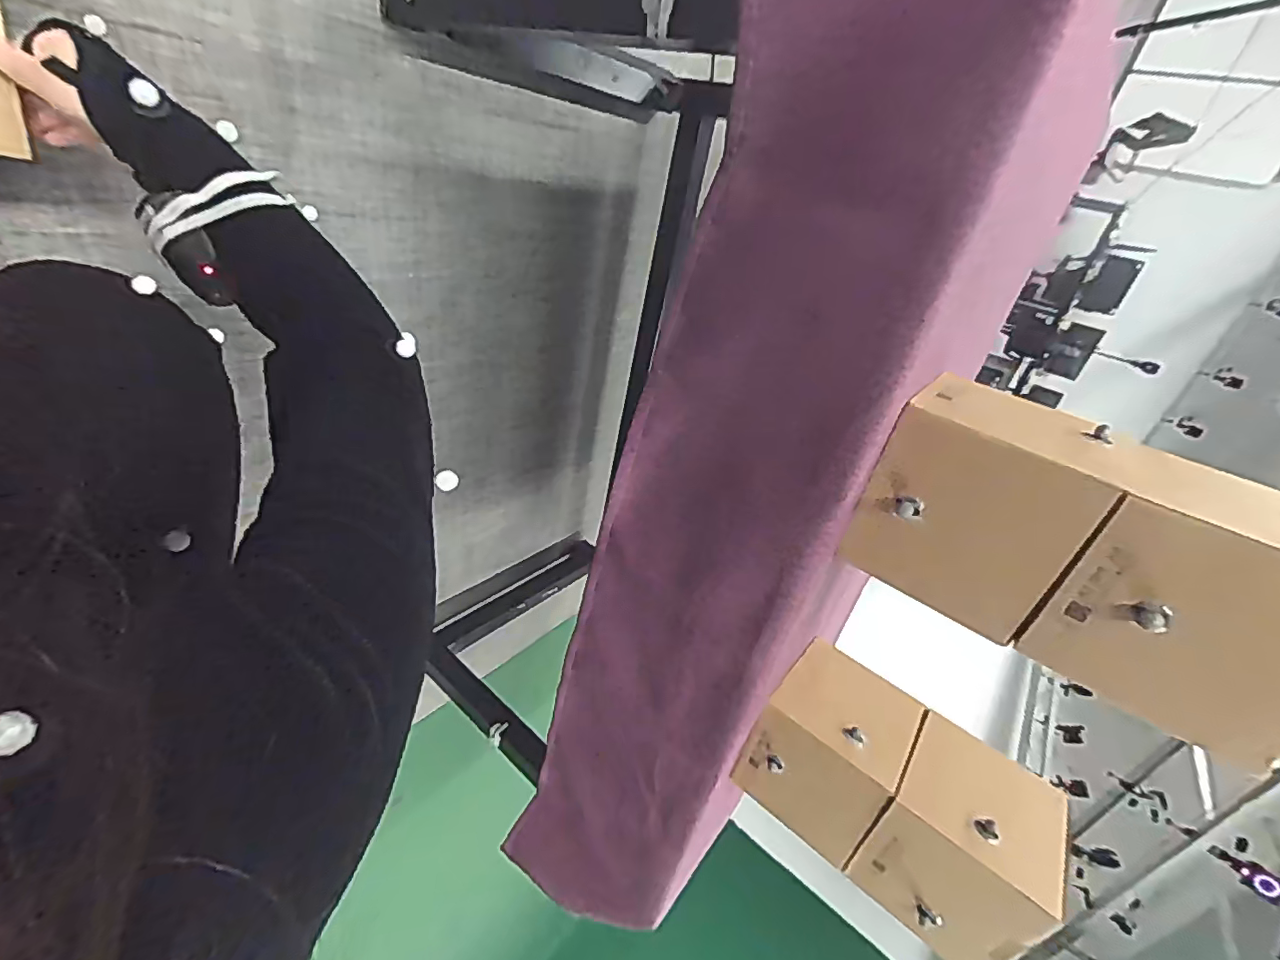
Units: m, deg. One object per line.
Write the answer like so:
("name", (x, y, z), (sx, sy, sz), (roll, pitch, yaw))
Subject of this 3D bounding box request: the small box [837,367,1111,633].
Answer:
("small box", (0.321, 0.008, 0.541), (0.168, 0.176, 0.179), (-28, 140, -46))

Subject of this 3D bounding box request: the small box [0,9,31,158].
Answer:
("small box", (-0.538, -0.306, 0.316), (0.179, 0.176, 0.168), (-37, 140, -62))

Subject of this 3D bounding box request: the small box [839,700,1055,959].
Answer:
("small box", (0.373, 0.419, 0.671), (0.179, 0.176, 0.168), (-26, 138, -47))

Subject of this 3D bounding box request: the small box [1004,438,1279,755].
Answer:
("small box", (0.451, 0.080, 0.469), (0.179, 0.176, 0.168), (-26, 137, -47))
